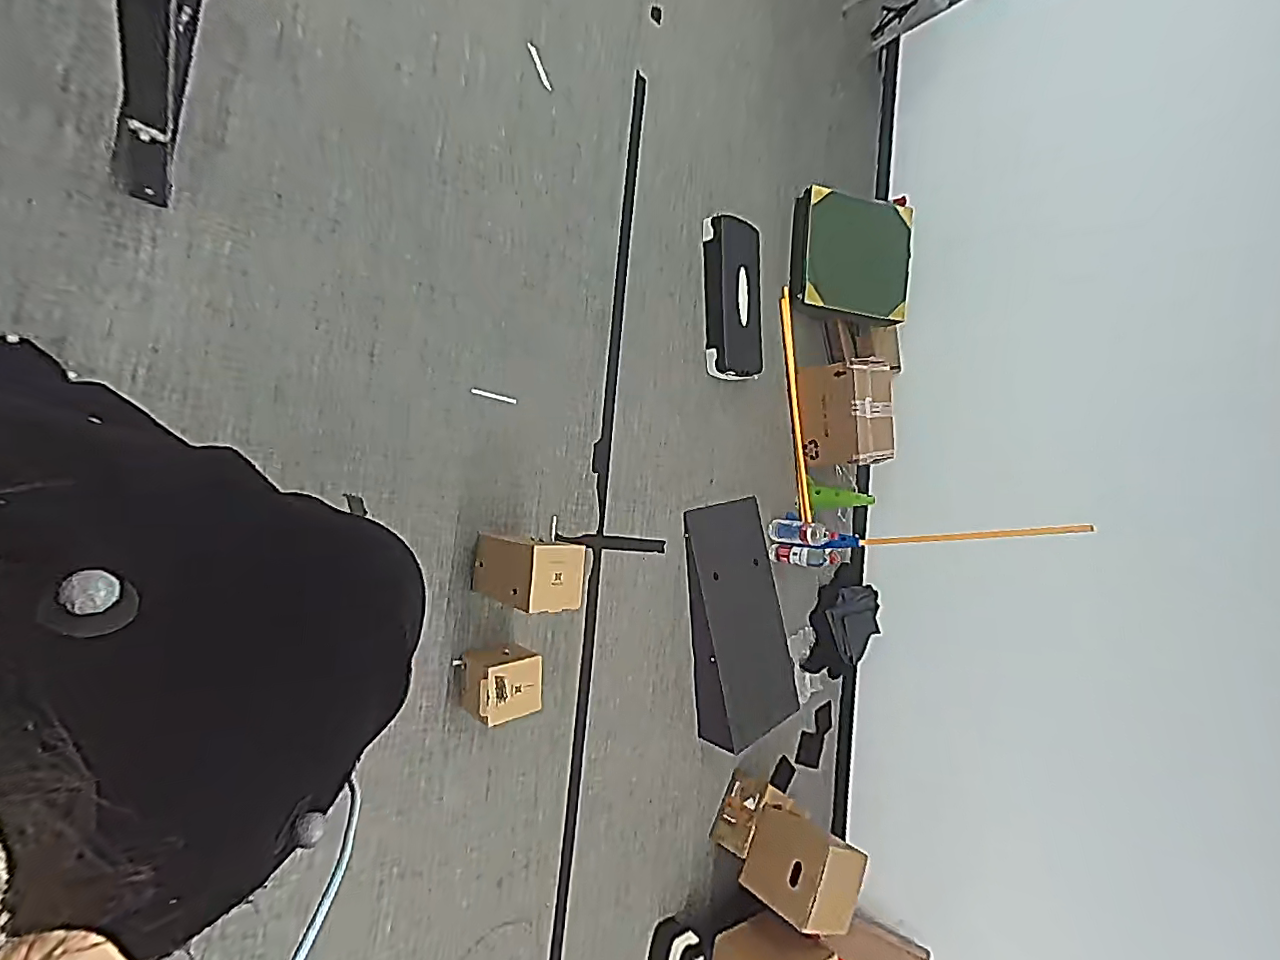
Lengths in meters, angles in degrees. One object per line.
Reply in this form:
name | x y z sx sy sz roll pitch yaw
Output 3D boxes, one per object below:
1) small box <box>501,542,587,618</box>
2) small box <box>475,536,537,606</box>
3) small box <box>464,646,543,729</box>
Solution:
small box | -0.266 0.268 1.477 0.168 0.176 0.179 7 85 -42
small box | -0.374 0.266 1.601 0.168 0.176 0.179 10 85 -42
small box | -0.403 0.600 1.584 0.179 0.176 0.168 0 91 -43
